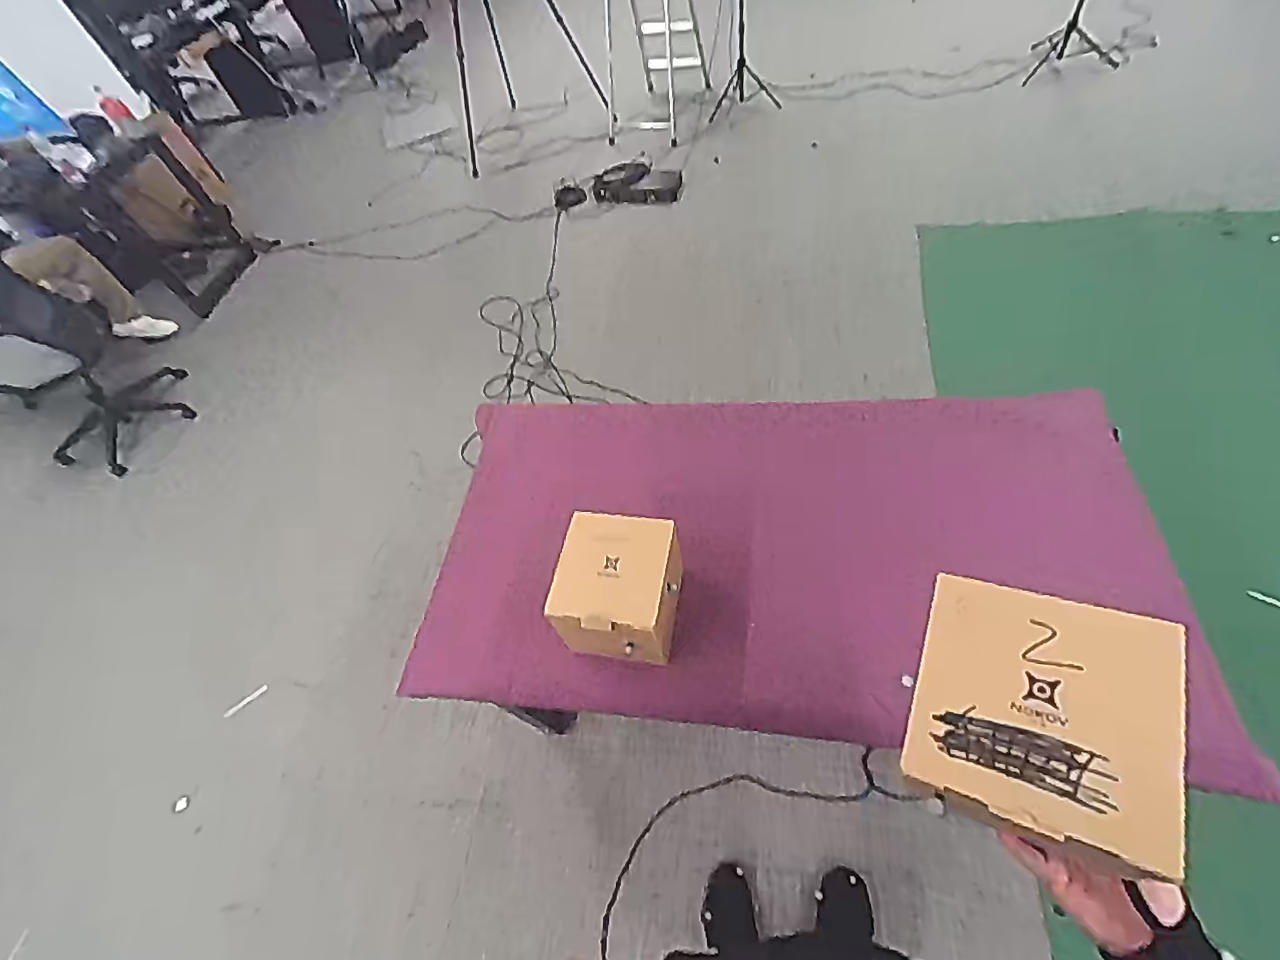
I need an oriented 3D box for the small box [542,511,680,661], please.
[{"bbox_3d":[-0.034,0.173,0.865,0.168,0.176,0.179,5,55,14],"label":"small box"}]
